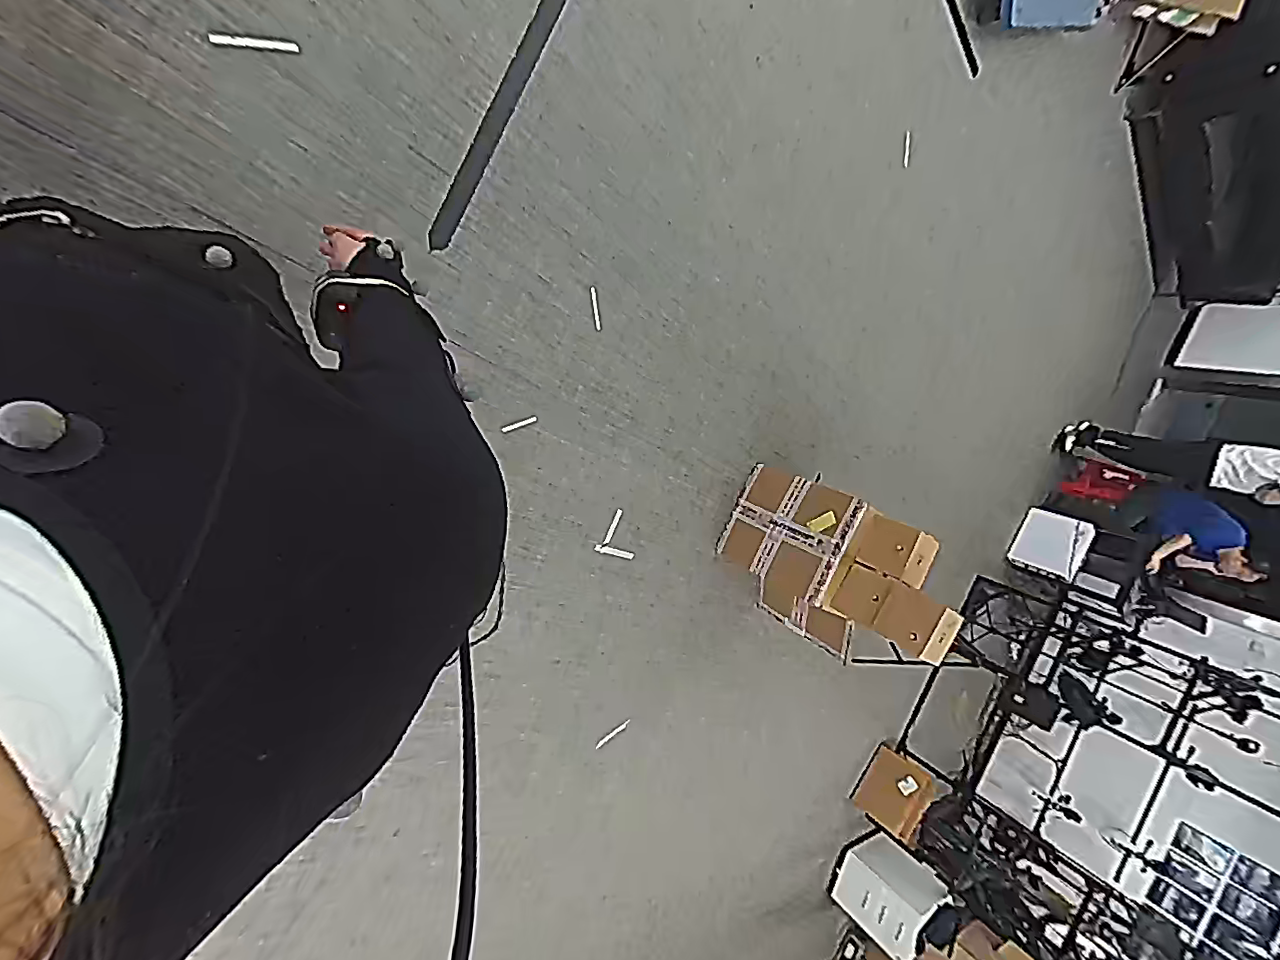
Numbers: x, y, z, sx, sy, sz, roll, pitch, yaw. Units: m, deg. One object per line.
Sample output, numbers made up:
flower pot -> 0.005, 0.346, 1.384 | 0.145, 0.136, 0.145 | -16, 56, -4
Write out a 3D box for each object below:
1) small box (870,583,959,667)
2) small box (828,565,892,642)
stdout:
small box -> 0.850, 0.450, 1.690 | 0.168, 0.176, 0.179 | 29, 90, -39
small box -> 0.773, 0.414, 1.834 | 0.168, 0.176, 0.179 | 33, 88, -39
